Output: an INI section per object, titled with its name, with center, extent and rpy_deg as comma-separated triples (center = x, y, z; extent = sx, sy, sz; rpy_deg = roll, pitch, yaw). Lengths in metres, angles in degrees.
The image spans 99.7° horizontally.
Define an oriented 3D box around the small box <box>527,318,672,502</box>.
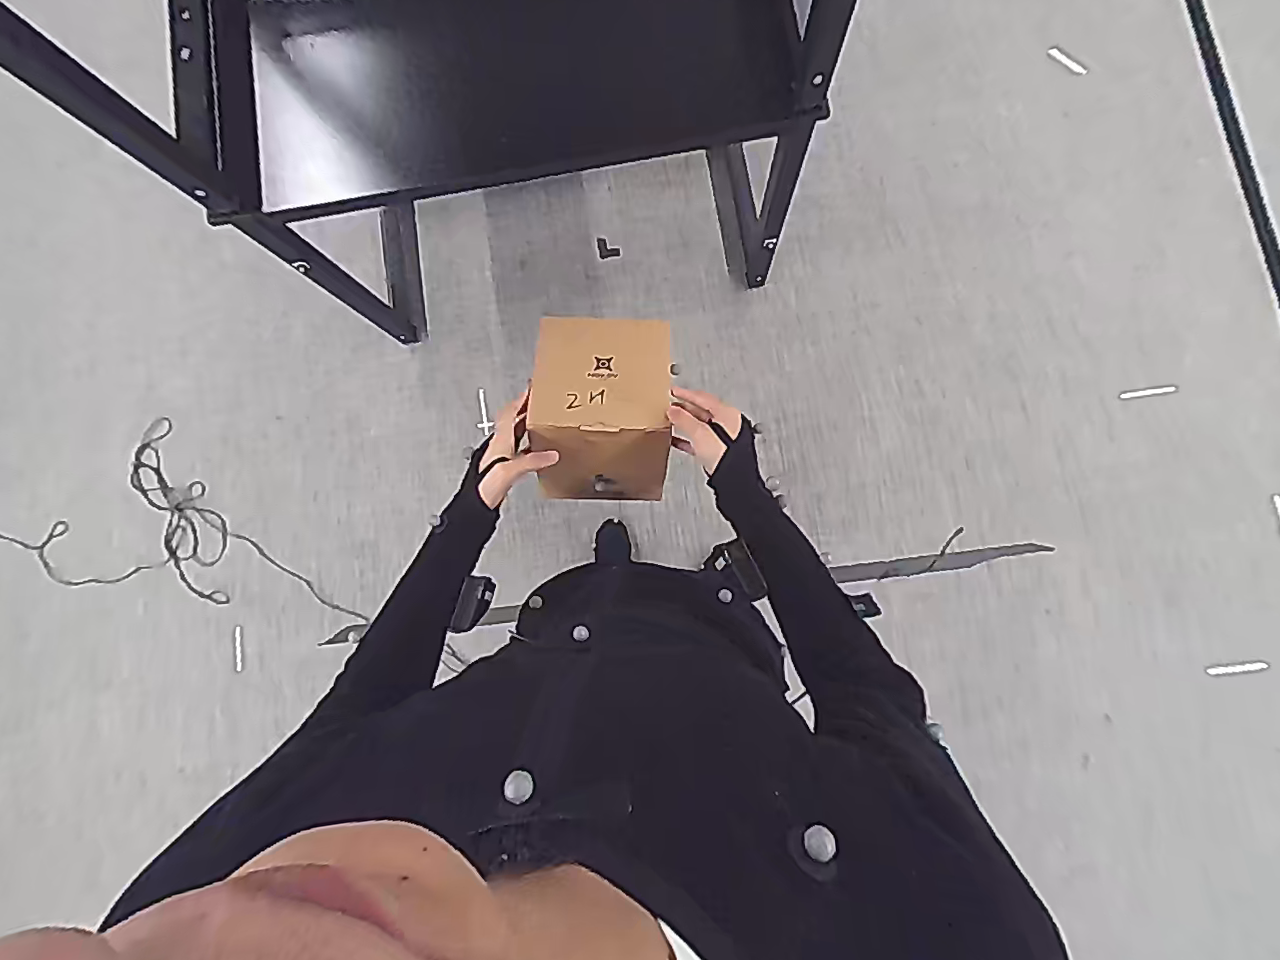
[small box]
center = -0.047, -0.088, 0.713
extent = 0.168, 0.176, 0.179
rpy_deg = 1, 60, -1
